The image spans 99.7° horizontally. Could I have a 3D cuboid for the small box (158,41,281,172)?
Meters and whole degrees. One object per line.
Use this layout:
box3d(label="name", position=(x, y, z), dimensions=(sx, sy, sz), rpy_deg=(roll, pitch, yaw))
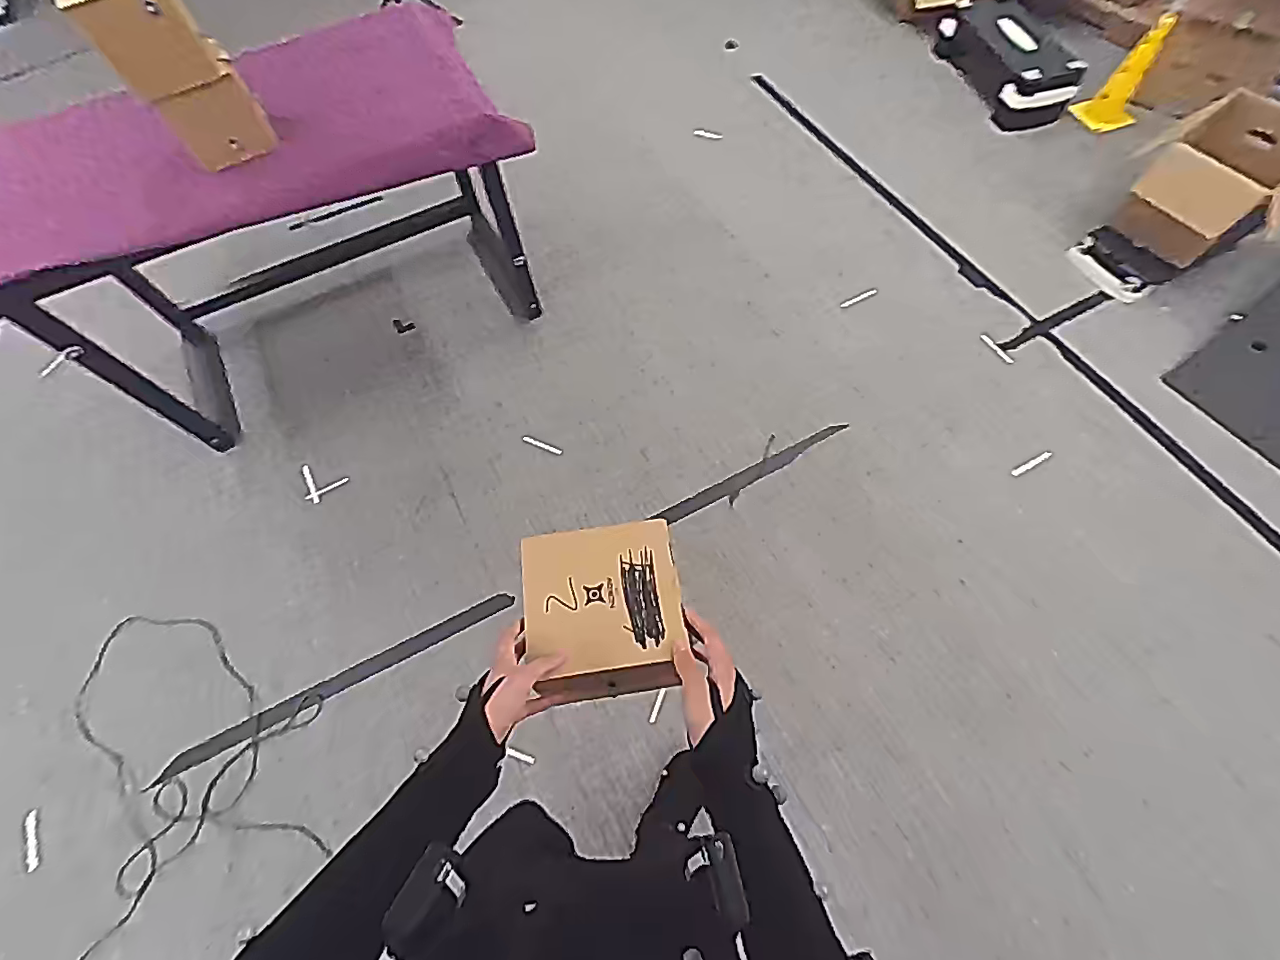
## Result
box3d(label="small box", position=(-0.968, -0.856, 1.247), dimensions=(0.179, 0.176, 0.168), rpy_deg=(-29, 66, -11))

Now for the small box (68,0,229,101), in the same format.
box3d(label="small box", position=(-0.987, -0.909, 1.092), dimensions=(0.179, 0.176, 0.168), rpy_deg=(-29, 66, -11))
